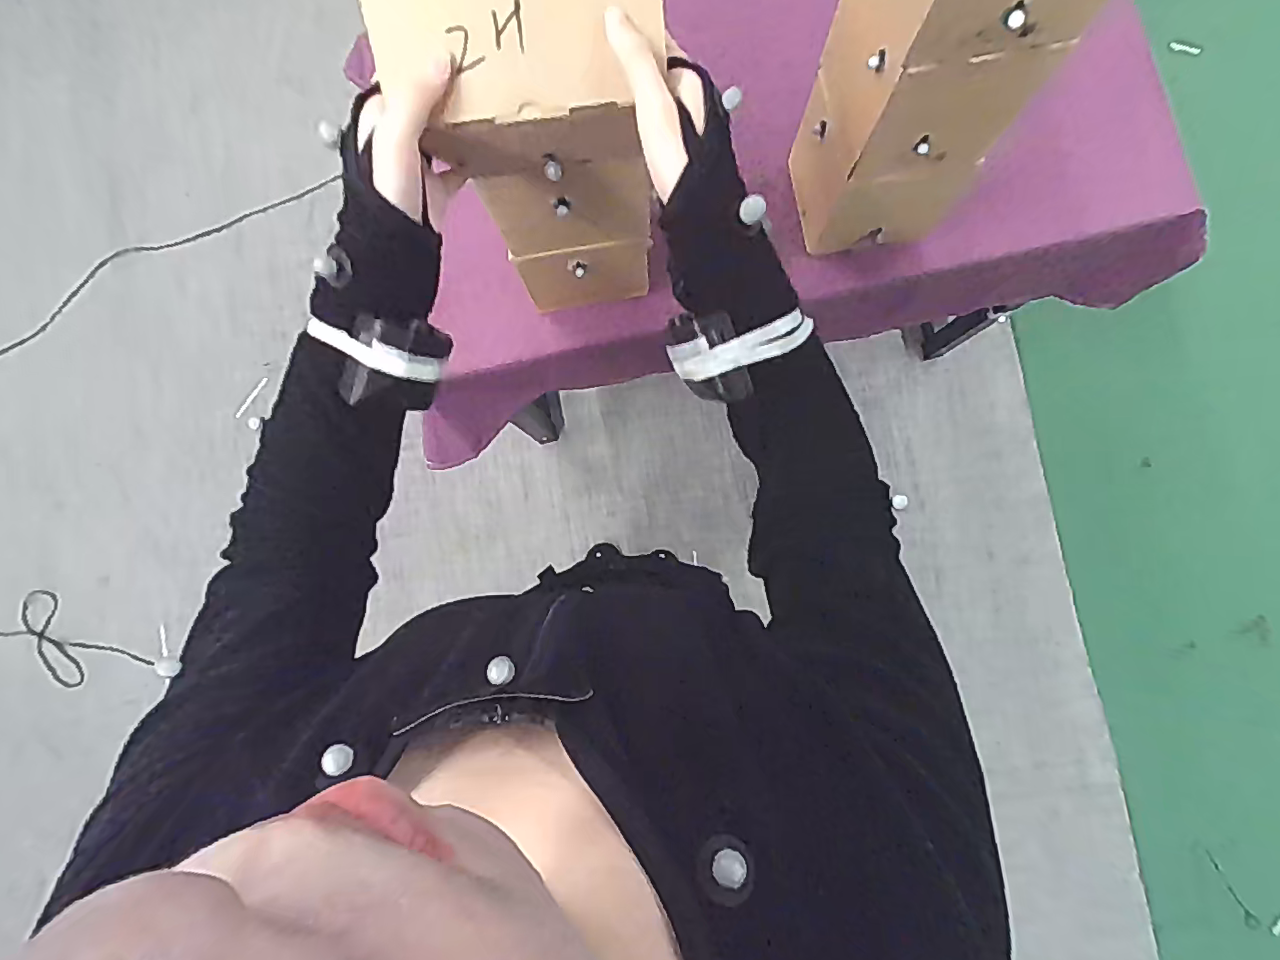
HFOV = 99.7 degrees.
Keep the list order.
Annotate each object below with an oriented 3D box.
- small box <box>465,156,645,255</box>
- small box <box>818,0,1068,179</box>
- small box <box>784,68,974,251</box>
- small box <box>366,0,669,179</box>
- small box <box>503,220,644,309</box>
[{"bbox_3d":[-0.090,-0.377,0.599,0.179,0.176,0.168,-10,85,2],"label":"small box"},{"bbox_3d":[0.312,-0.474,0.597,0.168,0.176,0.179,-9,85,1],"label":"small box"},{"bbox_3d":[0.320,-0.448,0.758,0.179,0.176,0.168,-10,84,0],"label":"small box"},{"bbox_3d":[-0.075,-0.320,0.363,0.168,0.176,0.179,-6,113,1],"label":"small box"},{"bbox_3d":[-0.091,-0.358,0.762,0.179,0.176,0.168,-9,85,0],"label":"small box"}]
